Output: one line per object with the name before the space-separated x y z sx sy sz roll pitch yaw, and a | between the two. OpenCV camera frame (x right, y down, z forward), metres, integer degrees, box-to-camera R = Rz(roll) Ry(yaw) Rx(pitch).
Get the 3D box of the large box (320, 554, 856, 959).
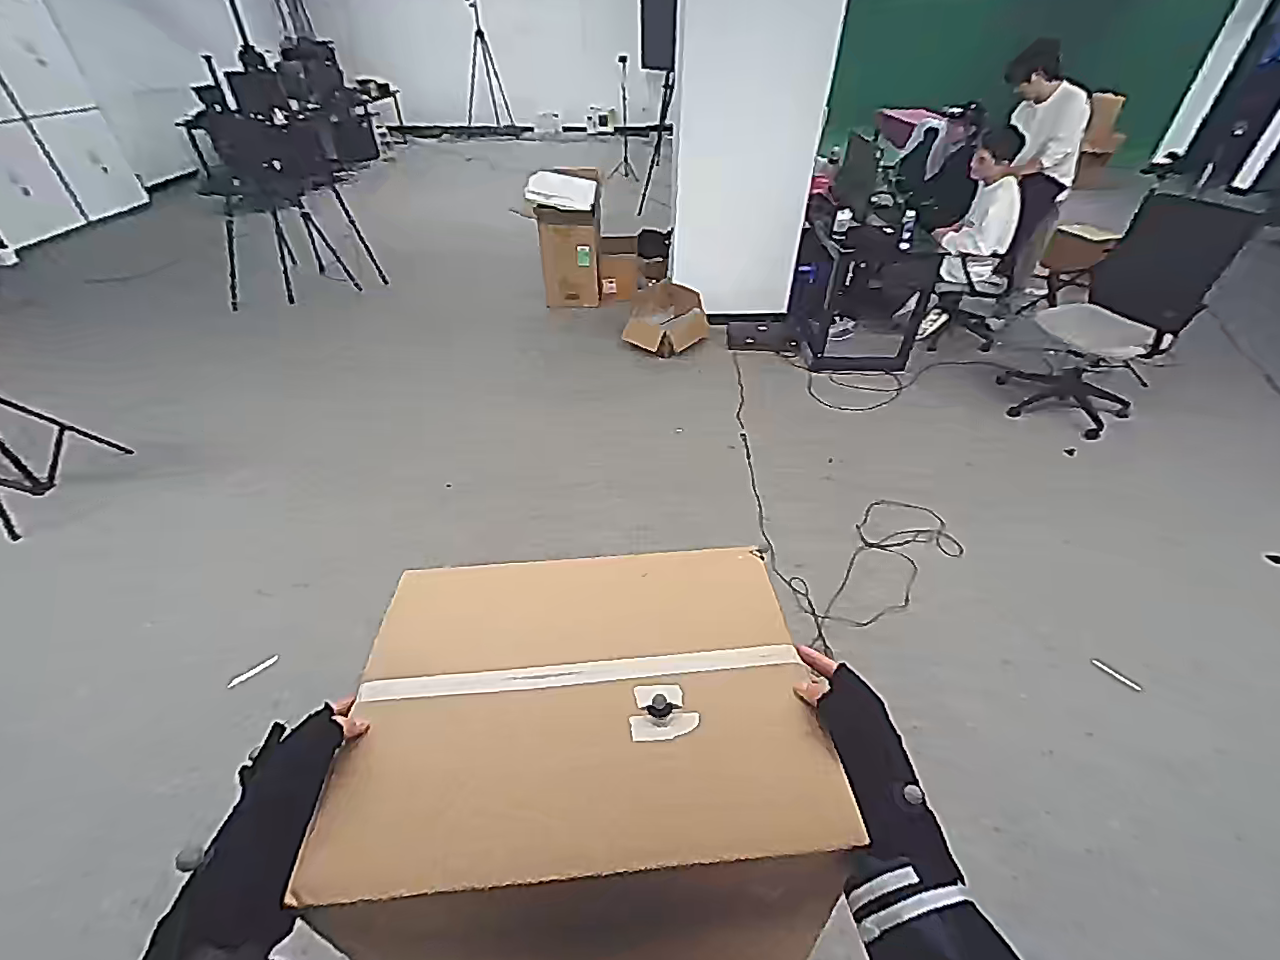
large box | -0.044 0.310 0.599 0.408 0.320 0.320 -3 36 -3
